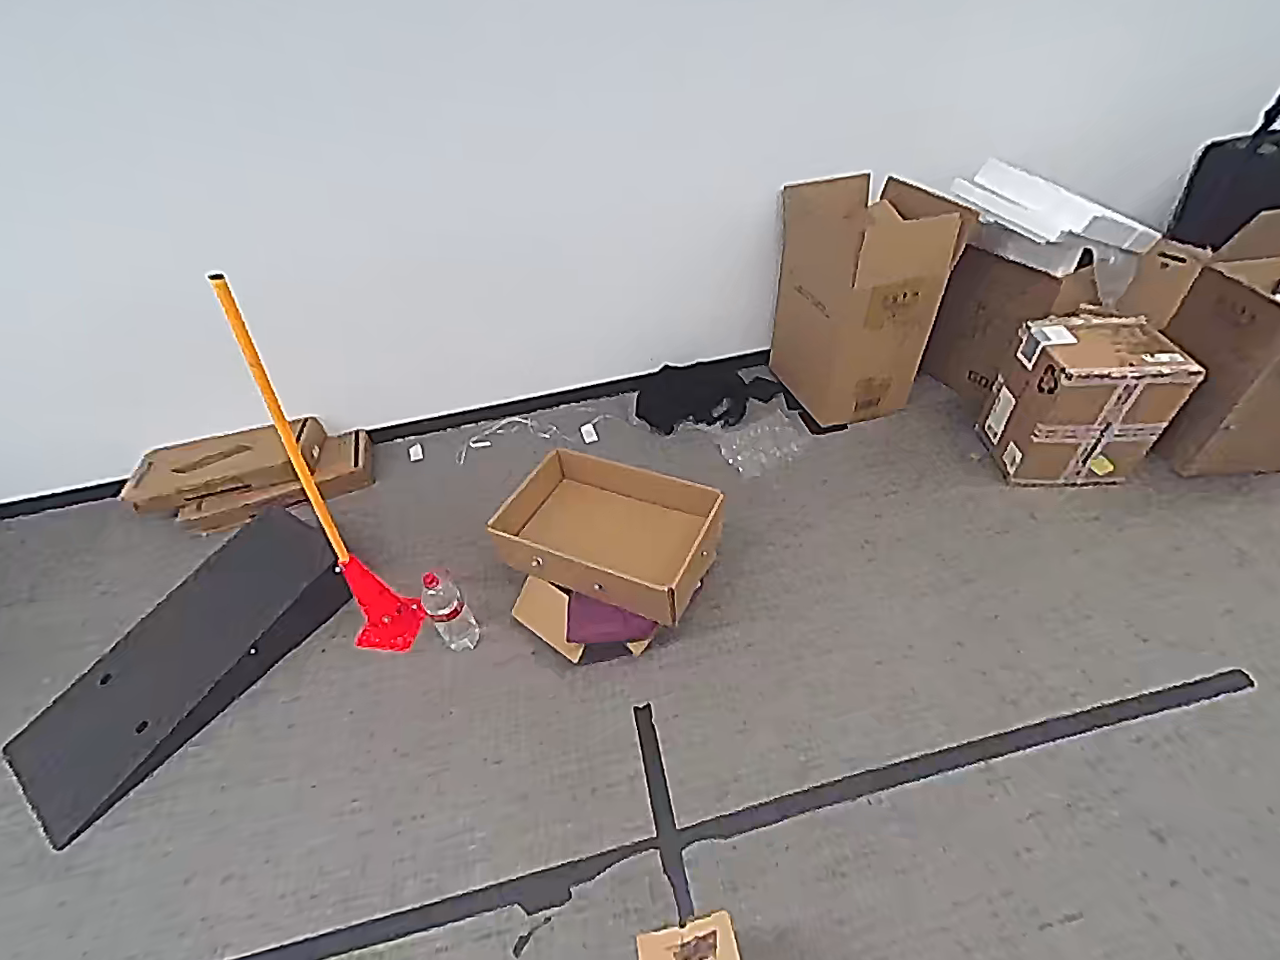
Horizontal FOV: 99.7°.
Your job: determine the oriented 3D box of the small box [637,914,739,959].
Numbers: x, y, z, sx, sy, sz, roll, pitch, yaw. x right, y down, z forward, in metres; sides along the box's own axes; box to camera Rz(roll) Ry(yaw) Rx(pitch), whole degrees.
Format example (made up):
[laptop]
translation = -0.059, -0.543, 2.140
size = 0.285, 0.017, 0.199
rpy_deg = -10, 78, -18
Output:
[small box]
translation = 0.094, 0.878, 0.918
size = 0.168, 0.176, 0.179
rpy_deg = -12, 44, -5
